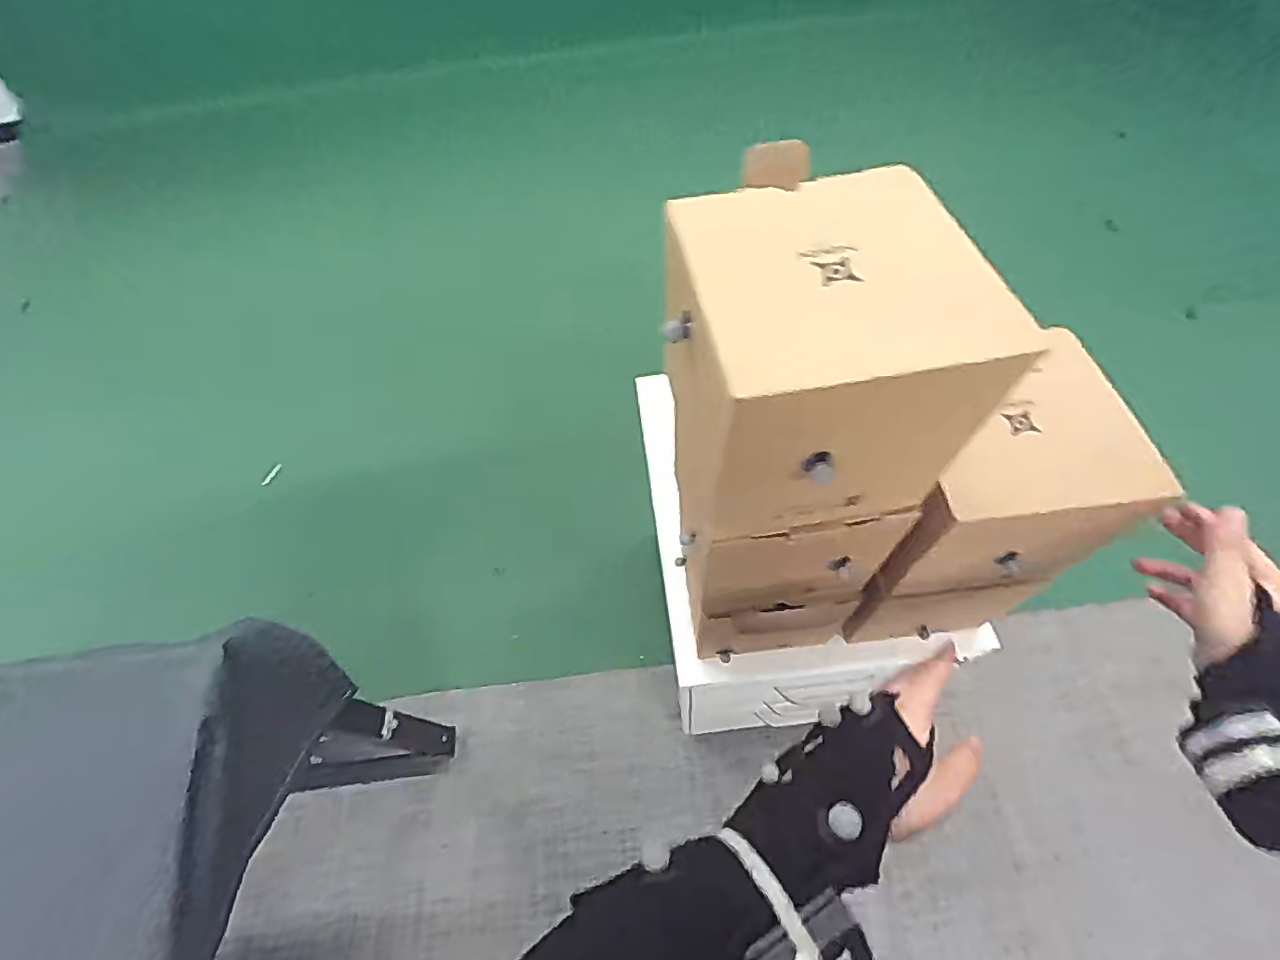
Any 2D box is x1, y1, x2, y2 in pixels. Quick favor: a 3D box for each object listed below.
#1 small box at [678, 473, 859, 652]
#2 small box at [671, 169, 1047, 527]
[{"bbox_3d":[0.138,0.100,0.650,0.168,0.176,0.179,-6,58,0],"label":"small box"},{"bbox_3d":[0.118,-0.079,0.380,0.168,0.176,0.179,-9,58,-3],"label":"small box"}]
